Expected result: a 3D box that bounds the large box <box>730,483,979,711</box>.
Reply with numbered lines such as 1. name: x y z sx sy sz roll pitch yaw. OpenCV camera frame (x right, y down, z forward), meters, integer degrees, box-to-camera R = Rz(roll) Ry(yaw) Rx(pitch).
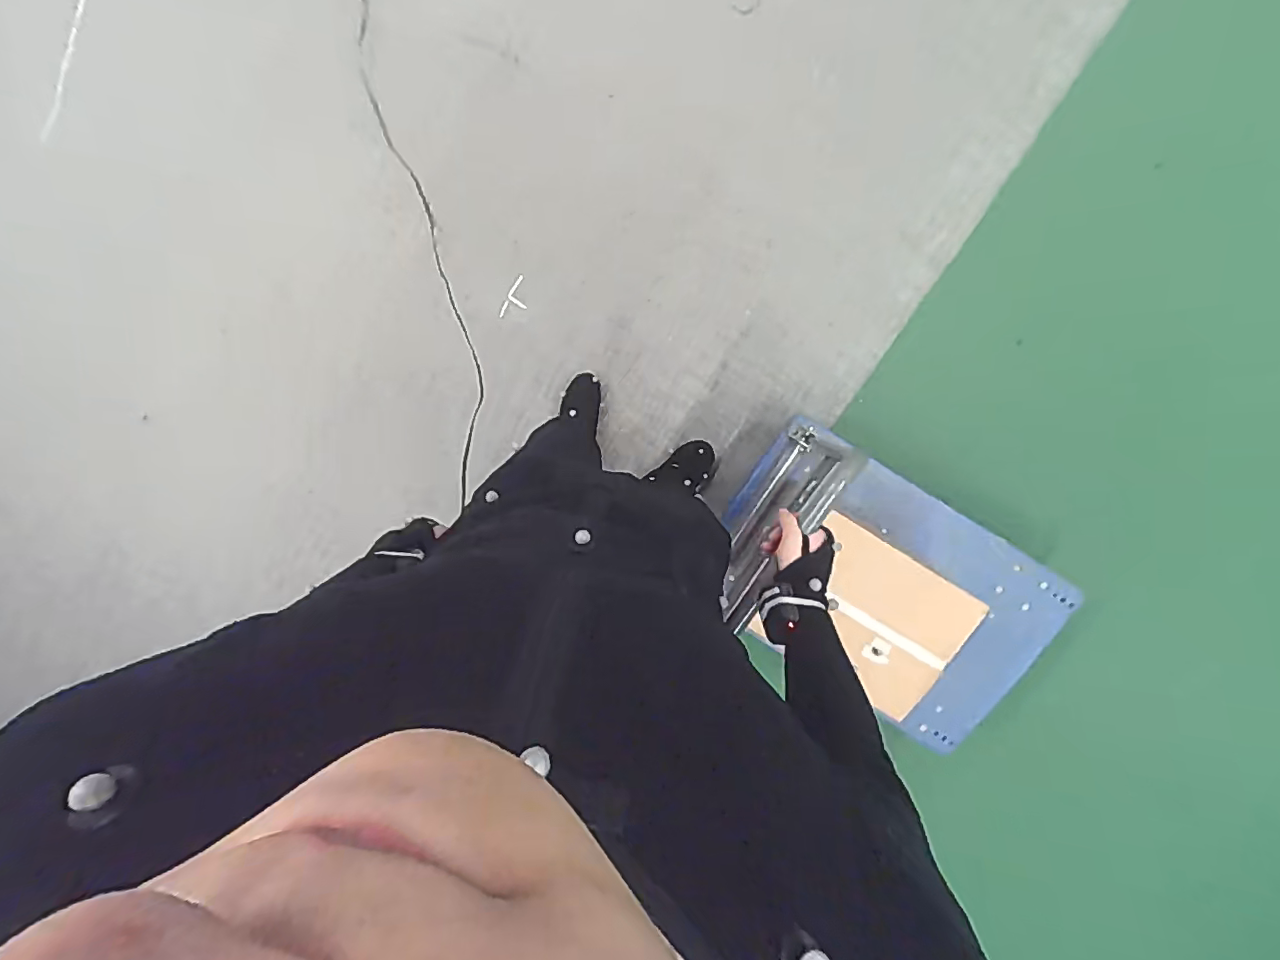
1. large box: 0.472 0.252 1.293 0.408 0.320 0.320 32 101 0
